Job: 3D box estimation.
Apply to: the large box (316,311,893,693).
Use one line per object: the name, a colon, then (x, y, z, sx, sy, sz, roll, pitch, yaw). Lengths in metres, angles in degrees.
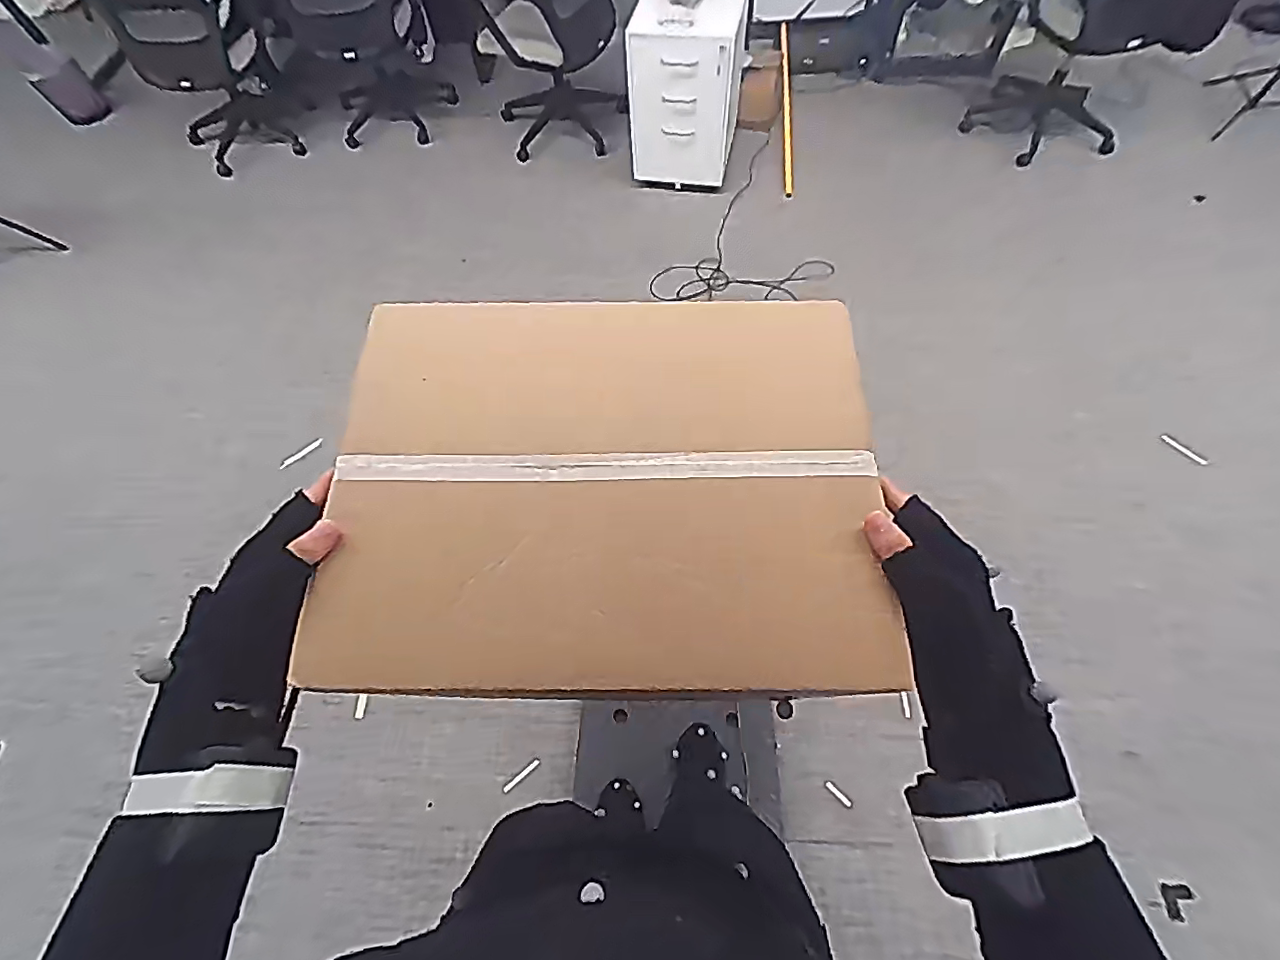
large box: (-0.023, 0.052, 0.560, 0.408, 0.320, 0.320, 0, 67, 1)
